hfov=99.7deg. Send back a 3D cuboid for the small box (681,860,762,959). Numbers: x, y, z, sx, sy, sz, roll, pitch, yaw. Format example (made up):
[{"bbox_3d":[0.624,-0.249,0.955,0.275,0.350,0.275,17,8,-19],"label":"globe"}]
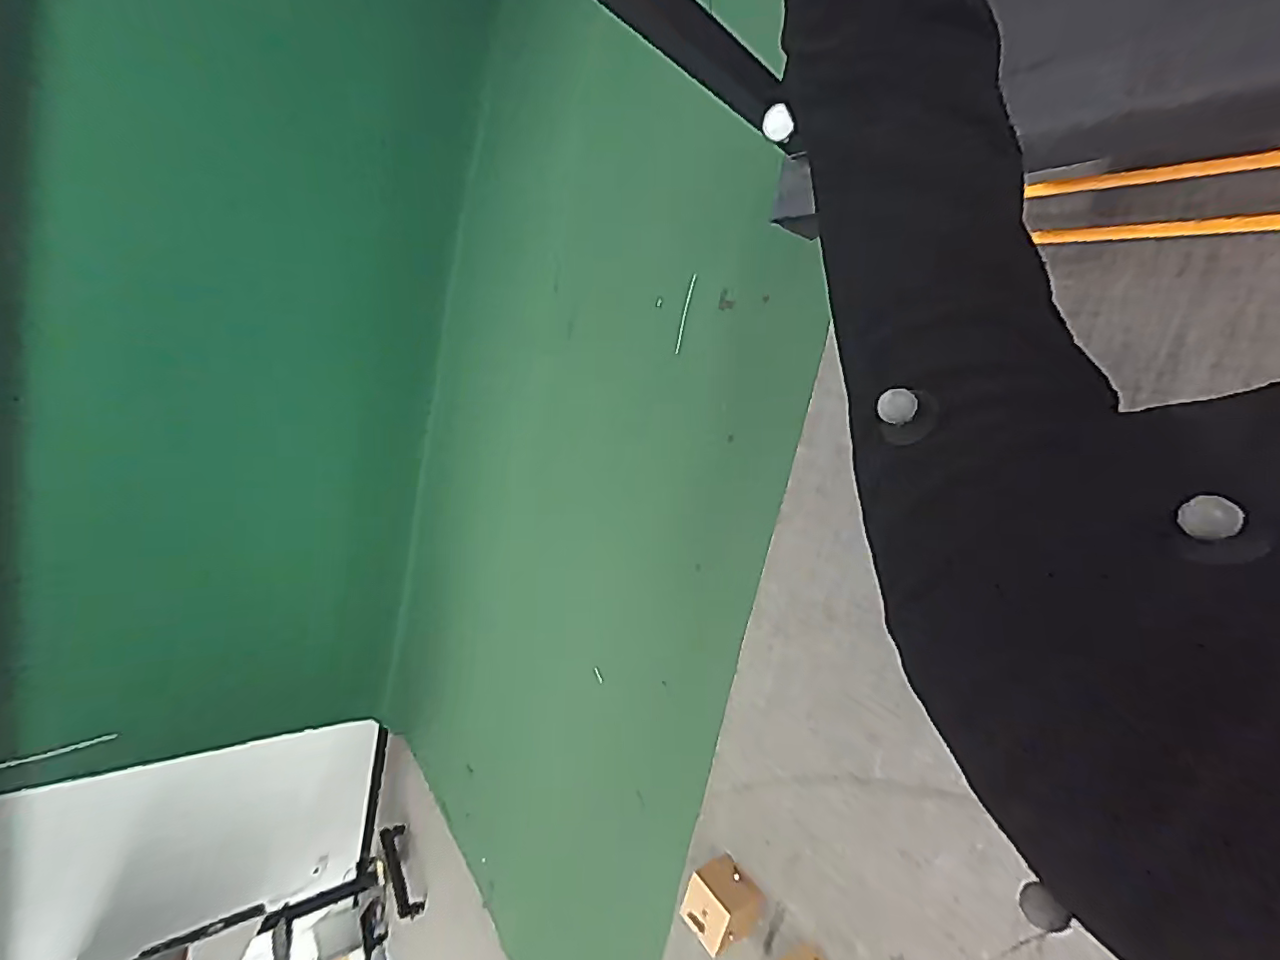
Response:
[{"bbox_3d":[0.266,1.384,1.743,0.168,0.176,0.179,28,105,47],"label":"small box"}]

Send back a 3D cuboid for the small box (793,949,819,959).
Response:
[{"bbox_3d":[0.467,1.475,1.503,0.168,0.176,0.179,22,103,48],"label":"small box"}]
